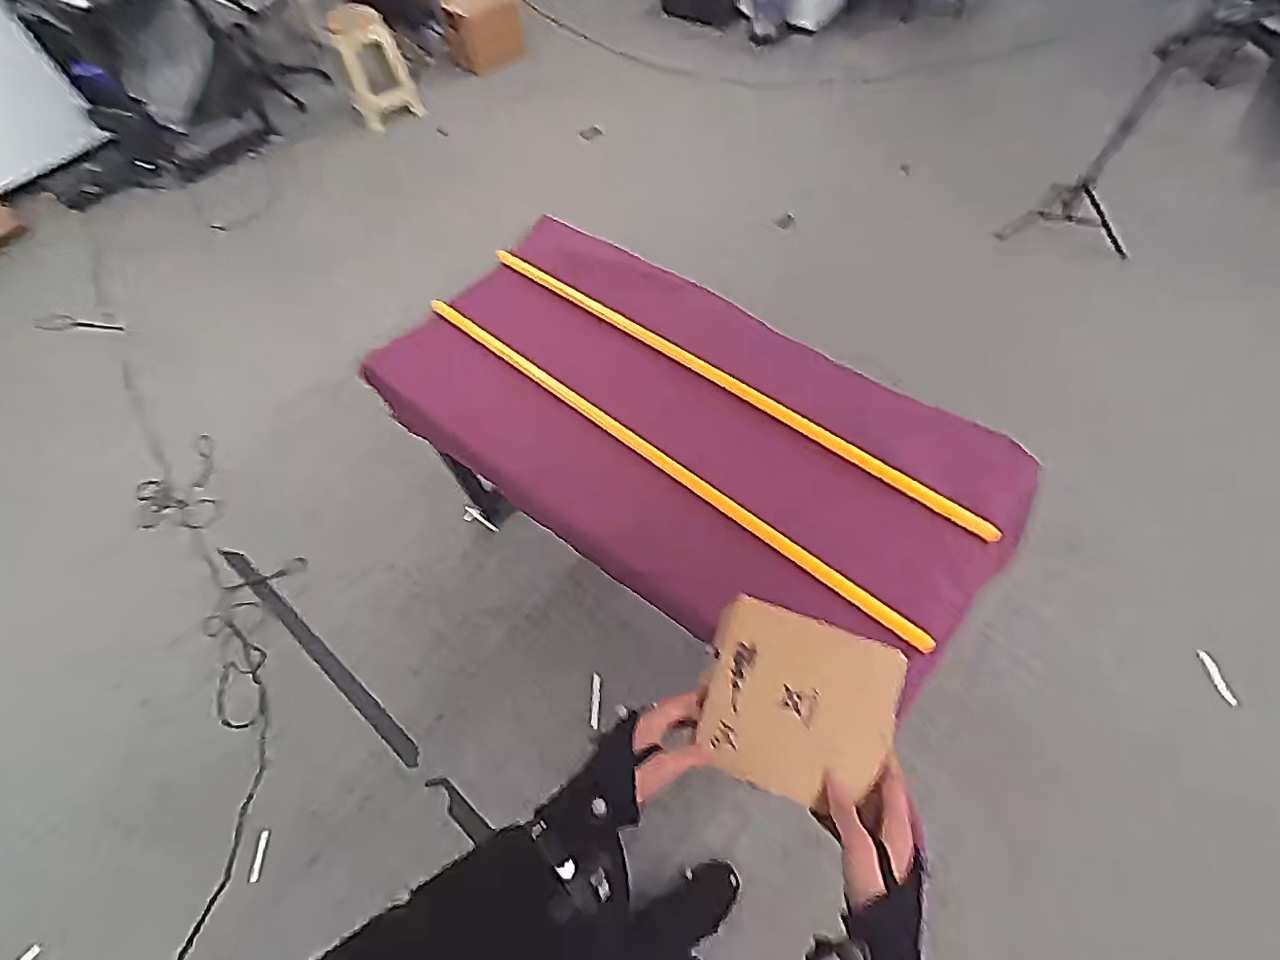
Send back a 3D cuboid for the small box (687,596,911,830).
[{"bbox_3d":[0.161,0.243,0.599,0.179,0.176,0.168,19,73,9],"label":"small box"}]
